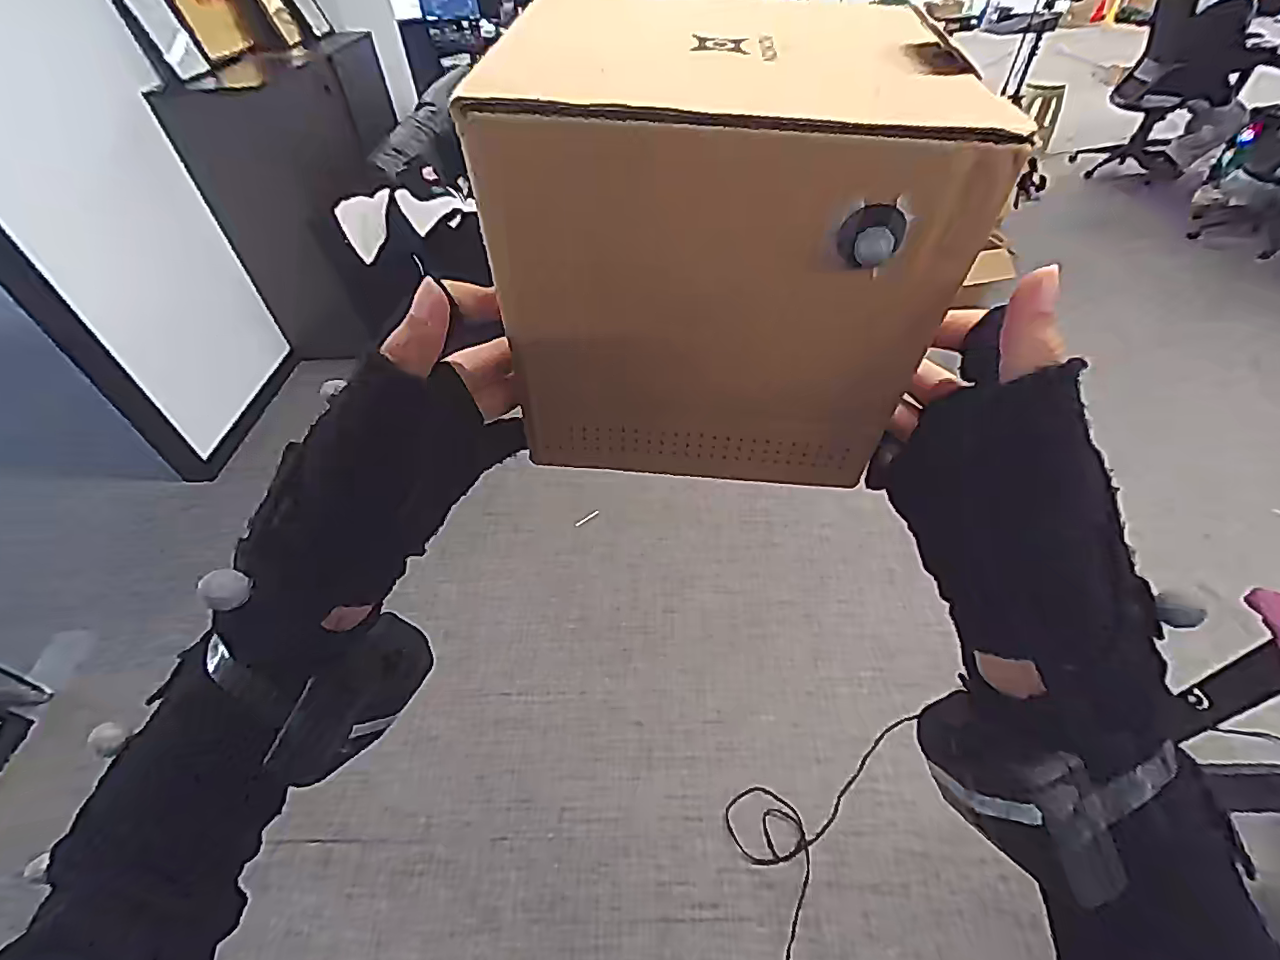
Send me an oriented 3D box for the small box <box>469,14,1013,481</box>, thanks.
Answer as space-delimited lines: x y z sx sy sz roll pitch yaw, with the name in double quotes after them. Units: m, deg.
0.035 -0.115 0.281 0.179 0.176 0.168 4 51 1 "small box"
